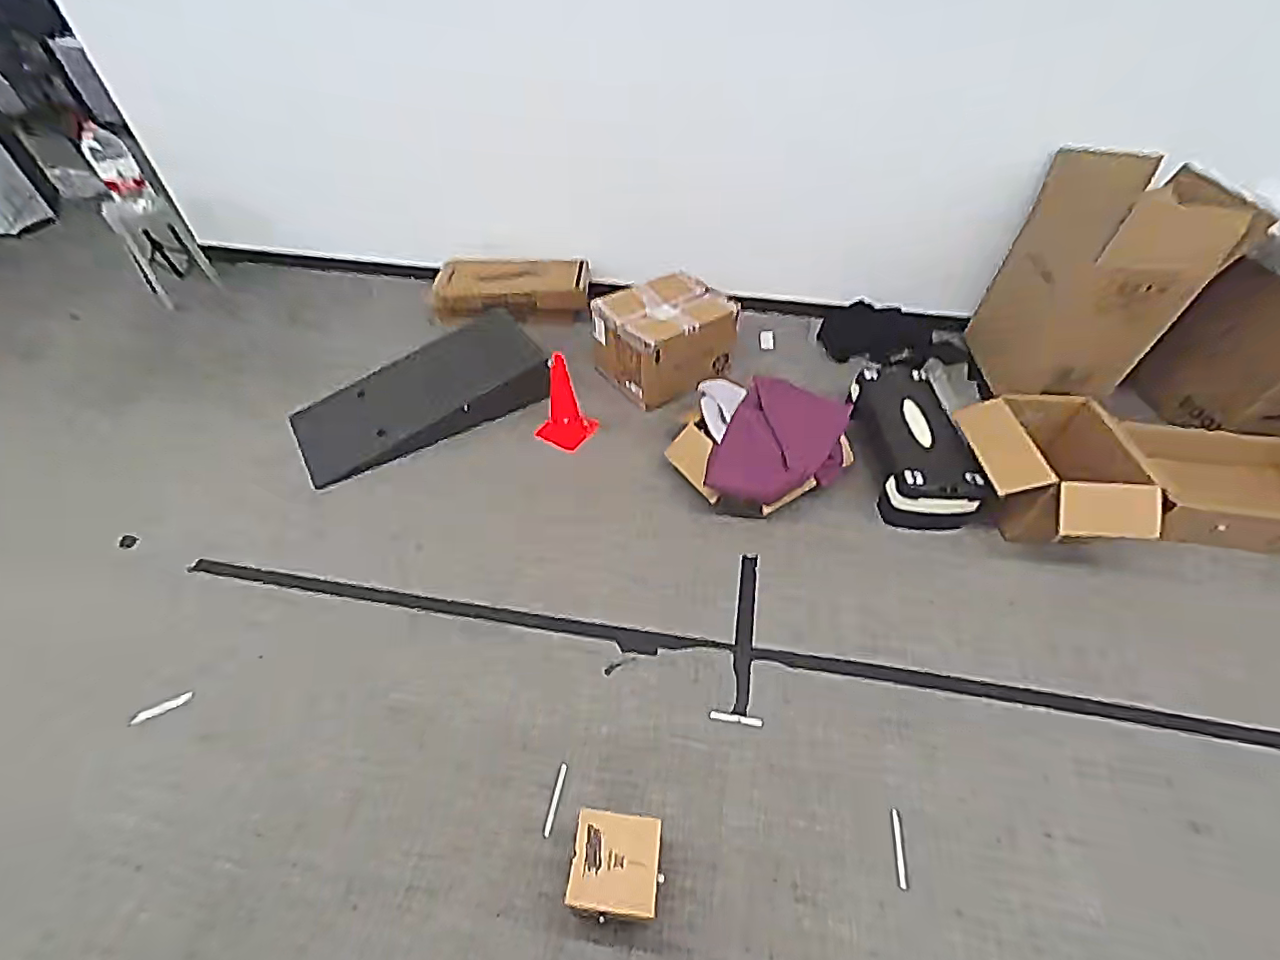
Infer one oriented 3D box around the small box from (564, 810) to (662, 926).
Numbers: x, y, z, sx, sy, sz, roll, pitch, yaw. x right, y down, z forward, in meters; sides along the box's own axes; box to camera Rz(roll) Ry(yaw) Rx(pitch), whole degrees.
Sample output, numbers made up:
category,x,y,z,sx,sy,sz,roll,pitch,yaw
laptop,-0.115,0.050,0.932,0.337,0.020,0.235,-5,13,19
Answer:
category,x,y,z,sx,sy,sz,roll,pitch,yaw
small box,-0.051,0.820,1.139,0.179,0.176,0.168,6,47,4
